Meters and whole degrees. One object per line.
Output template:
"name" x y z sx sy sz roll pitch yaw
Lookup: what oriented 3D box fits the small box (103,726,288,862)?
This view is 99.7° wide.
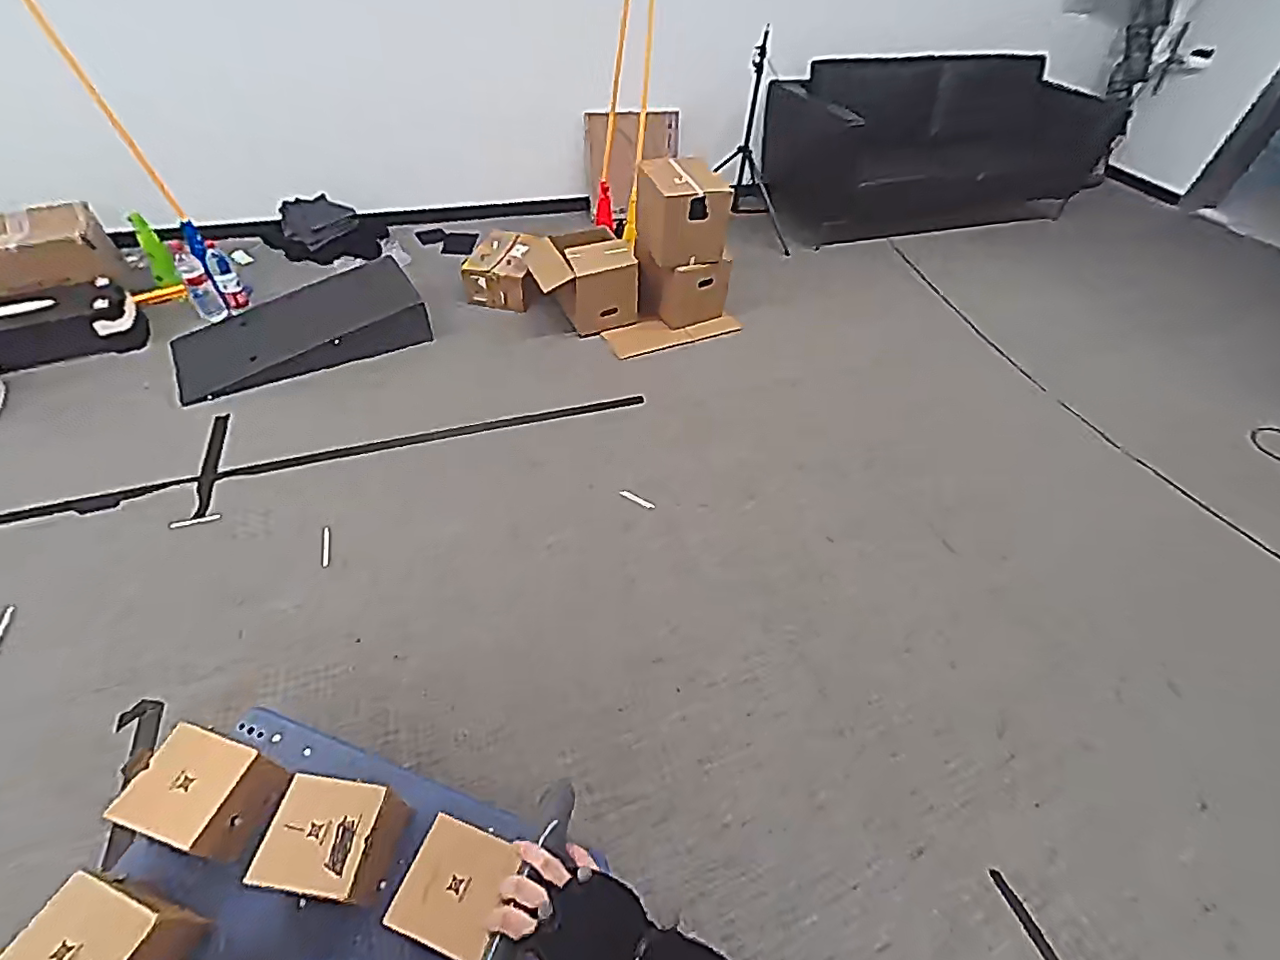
"small box" -0.816 0.595 1.018 0.179 0.176 0.168 15 48 7

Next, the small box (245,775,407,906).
"small box" -0.553 0.660 0.986 0.179 0.176 0.168 8 48 2

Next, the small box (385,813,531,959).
"small box" -0.305 0.725 0.956 0.179 0.176 0.168 17 48 10

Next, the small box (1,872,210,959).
"small box" -0.854 0.763 0.859 0.179 0.176 0.168 19 49 9
